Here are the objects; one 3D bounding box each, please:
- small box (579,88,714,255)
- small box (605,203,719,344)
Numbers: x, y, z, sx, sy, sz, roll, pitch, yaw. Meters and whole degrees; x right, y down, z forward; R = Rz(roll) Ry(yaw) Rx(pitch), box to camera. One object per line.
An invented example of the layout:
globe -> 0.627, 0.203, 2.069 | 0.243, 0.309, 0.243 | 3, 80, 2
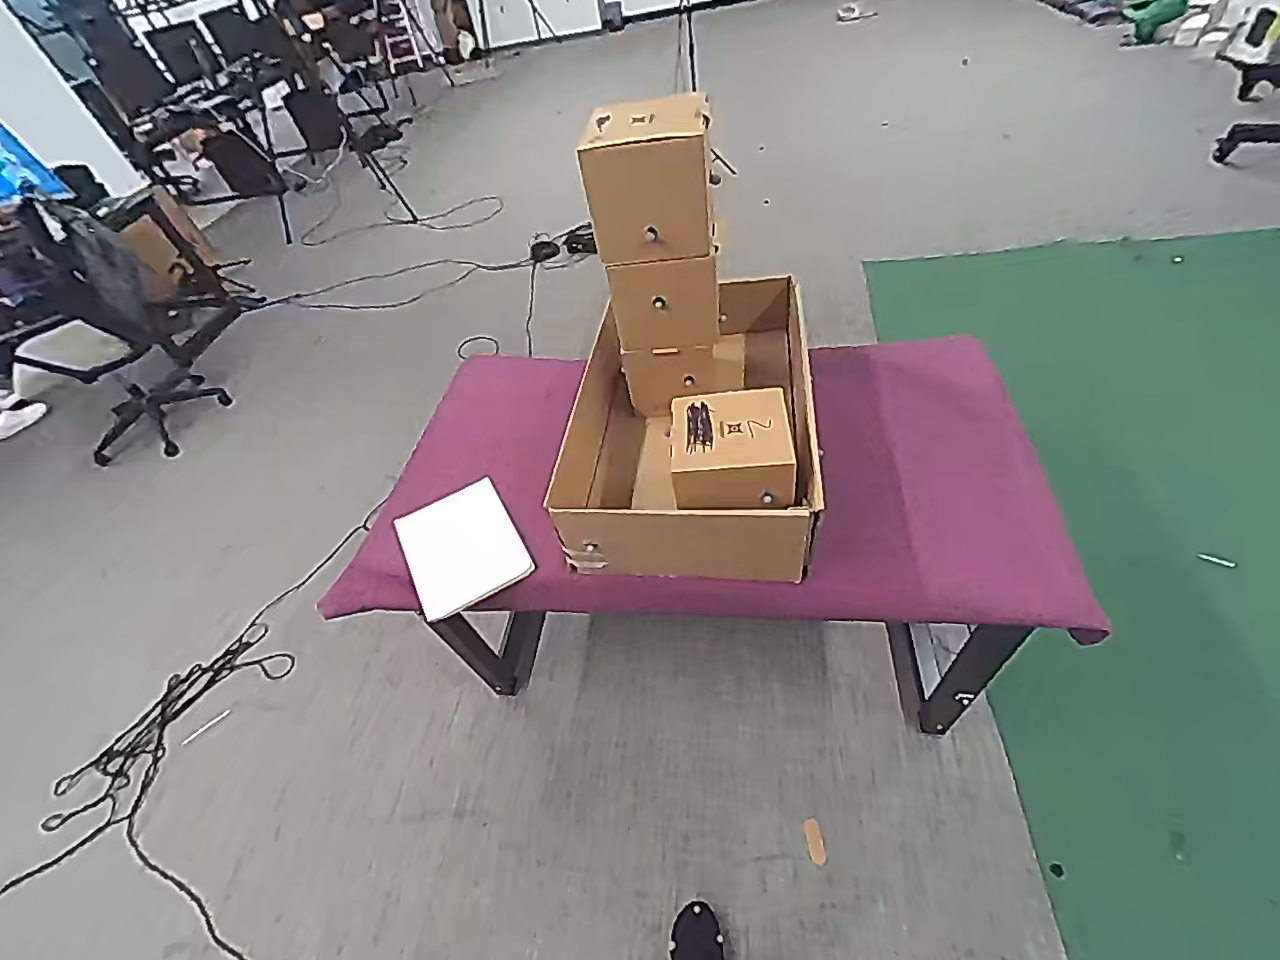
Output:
small box -> 0.022, -0.463, 0.823 | 0.179, 0.176, 0.168 | 1, 50, 10
small box -> 0.048, -0.356, 0.945 | 0.179, 0.176, 0.168 | -2, 50, 10
